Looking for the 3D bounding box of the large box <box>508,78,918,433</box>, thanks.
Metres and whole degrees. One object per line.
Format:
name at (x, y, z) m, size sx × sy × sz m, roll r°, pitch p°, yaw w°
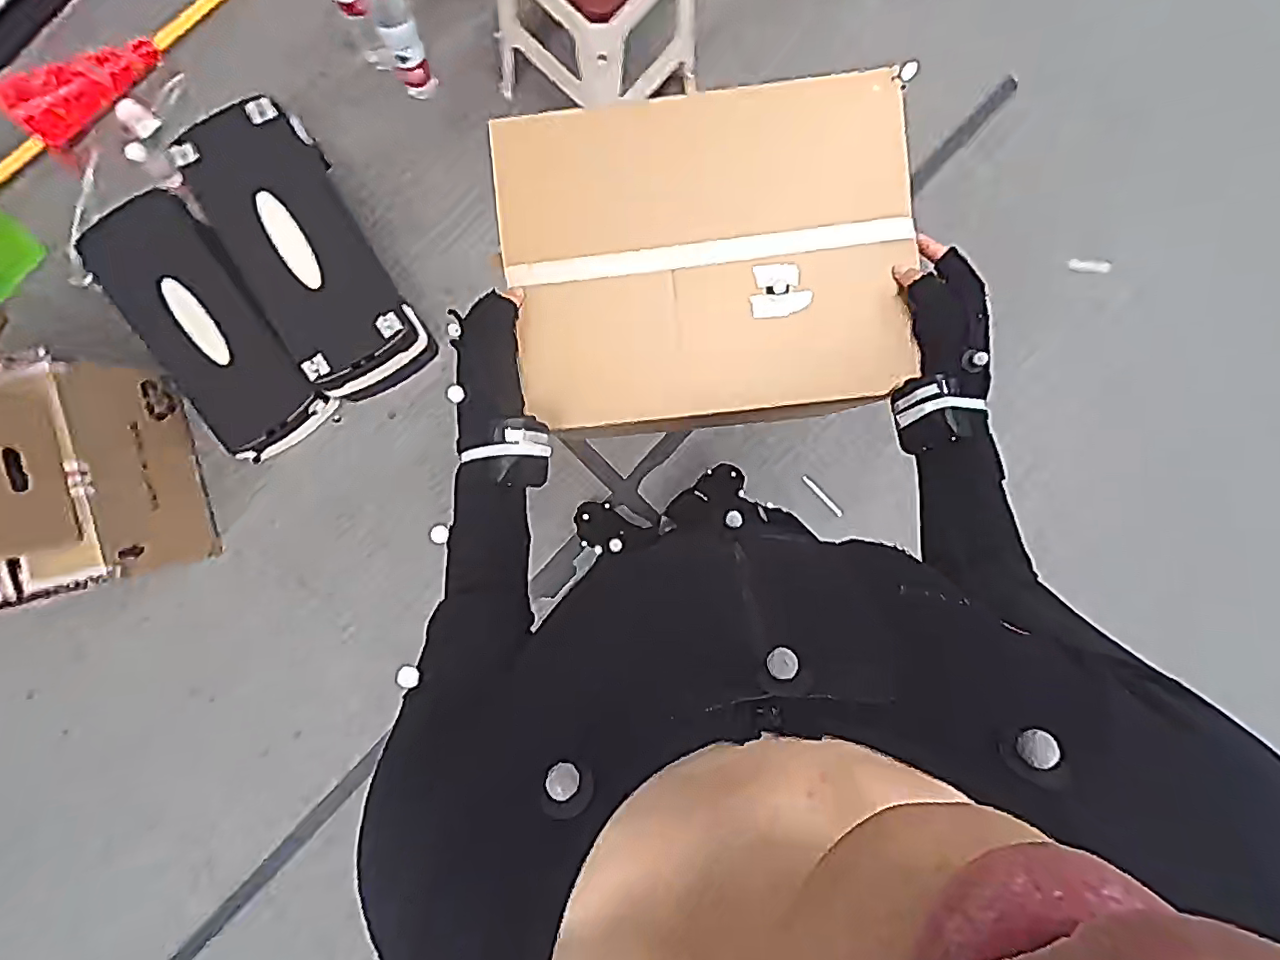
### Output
large box at (0.078, -0.240, 0.704) m, size 0.408 × 0.320 × 0.320 m, roll -5°, pitch 93°, yaw 2°
